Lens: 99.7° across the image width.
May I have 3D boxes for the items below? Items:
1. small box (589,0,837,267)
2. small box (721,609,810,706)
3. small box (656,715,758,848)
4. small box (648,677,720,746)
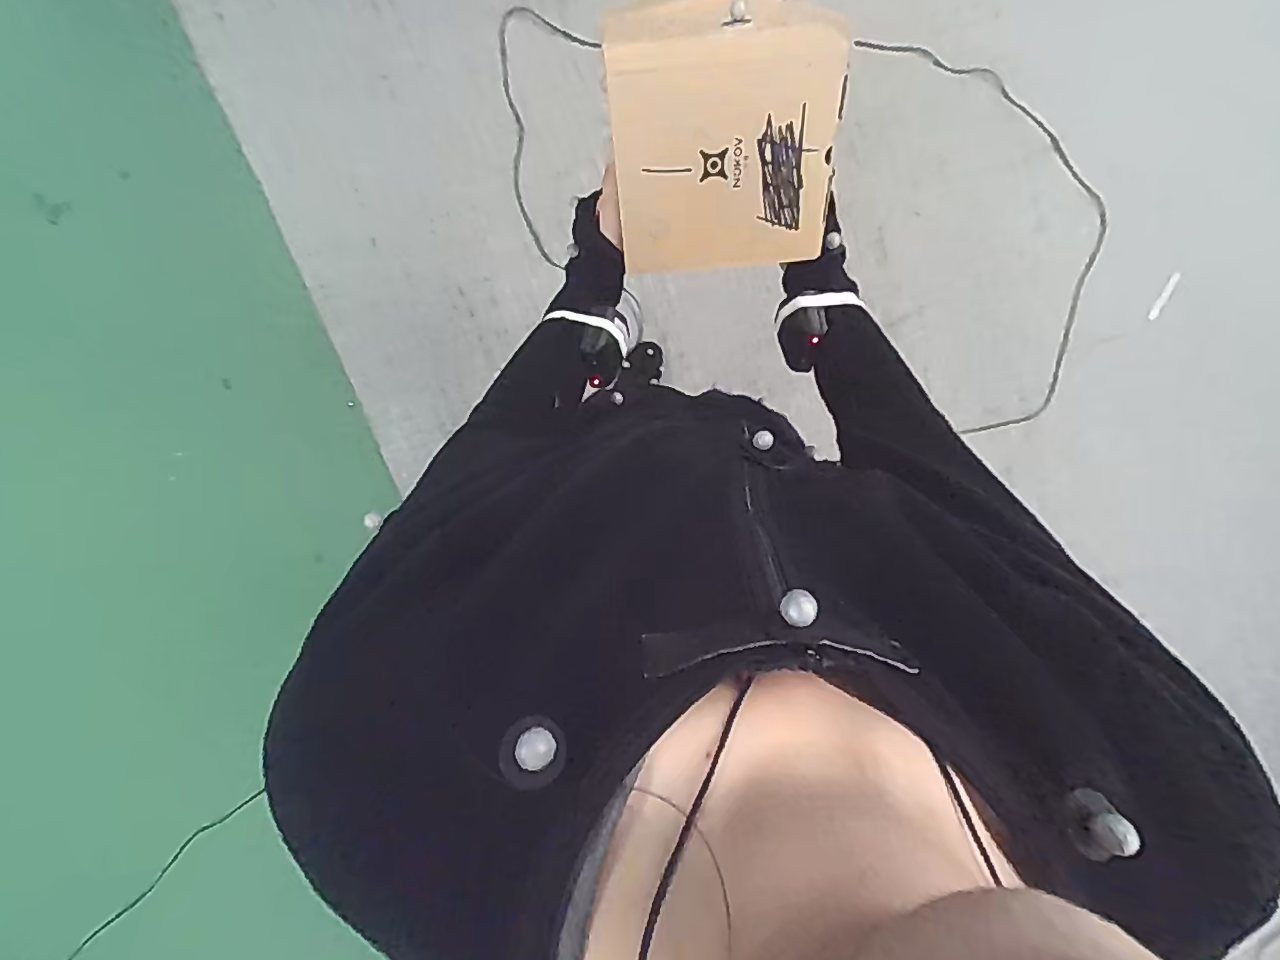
[{"bbox_3d":[0.053,-0.312,0.484,0.179,0.176,0.168,-4,136,3],"label":"small box"},{"bbox_3d":[0.349,0.493,1.528,0.179,0.176,0.168,-24,103,3],"label":"small box"},{"bbox_3d":[0.140,0.665,1.210,0.179,0.176,0.168,-19,104,-1],"label":"small box"},{"bbox_3d":[0.130,0.641,1.374,0.168,0.176,0.179,-23,103,0],"label":"small box"}]
